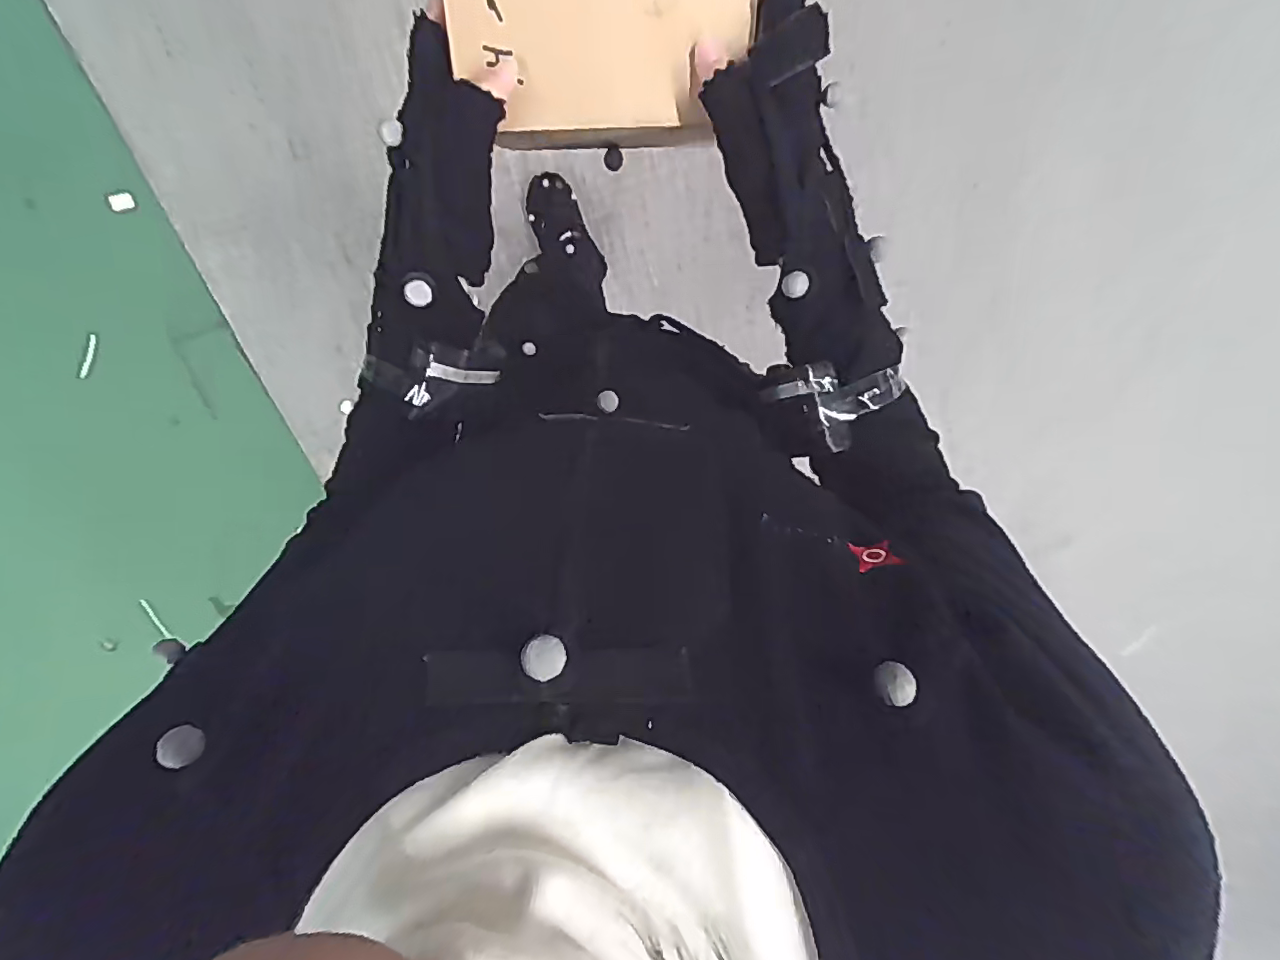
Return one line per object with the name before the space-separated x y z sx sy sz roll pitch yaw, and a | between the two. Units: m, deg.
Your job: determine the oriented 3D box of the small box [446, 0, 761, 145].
small box | -0.024 -0.326 0.356 0.179 0.176 0.168 -2 117 -1
